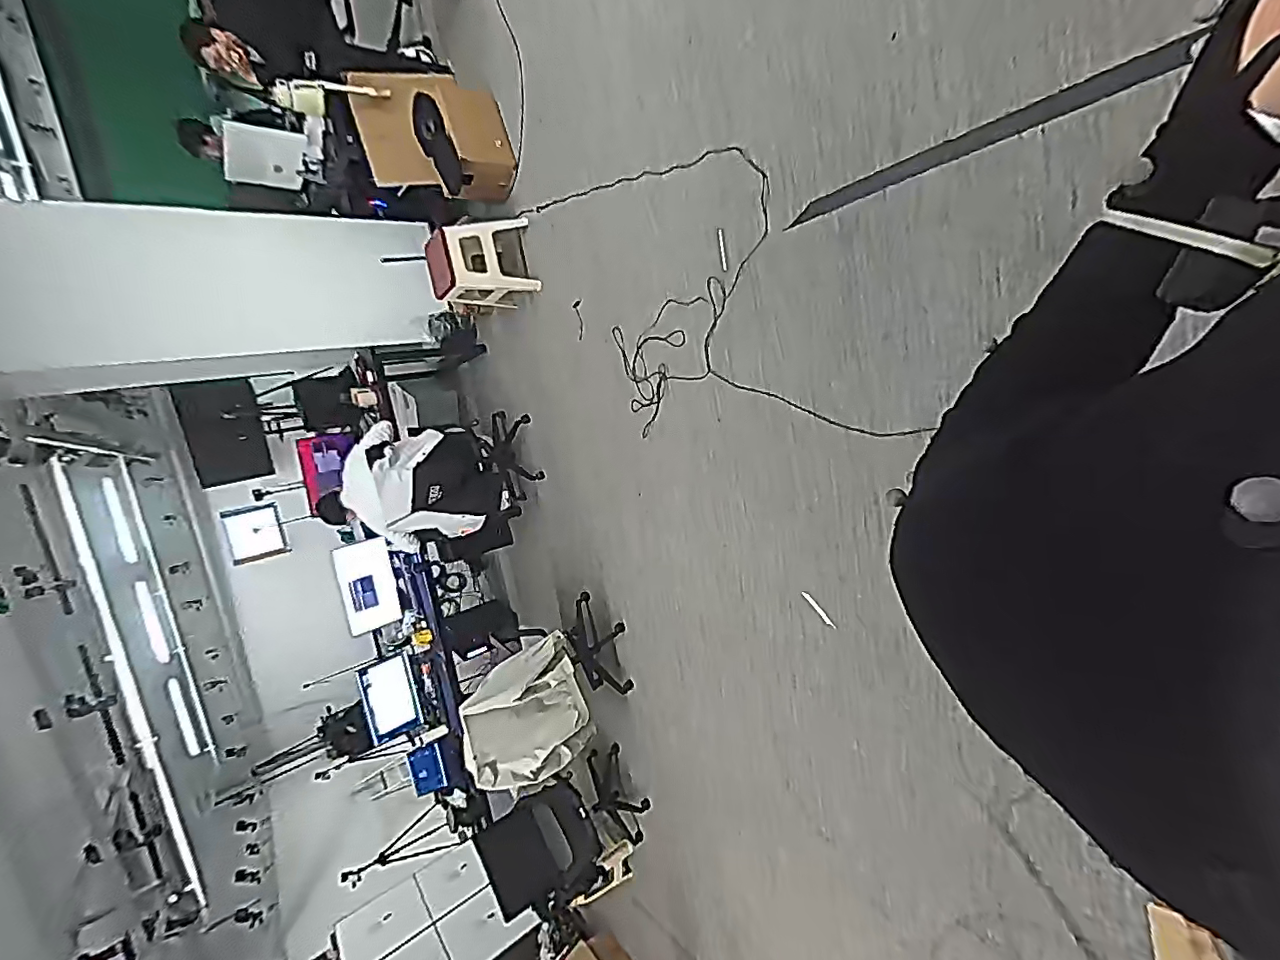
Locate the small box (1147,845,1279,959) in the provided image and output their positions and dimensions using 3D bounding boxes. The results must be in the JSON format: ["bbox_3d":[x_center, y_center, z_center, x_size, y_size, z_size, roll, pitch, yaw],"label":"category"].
[{"bbox_3d":[1.031,0.803,0.951,0.168,0.176,0.179,-7,98,53],"label":"small box"}]
